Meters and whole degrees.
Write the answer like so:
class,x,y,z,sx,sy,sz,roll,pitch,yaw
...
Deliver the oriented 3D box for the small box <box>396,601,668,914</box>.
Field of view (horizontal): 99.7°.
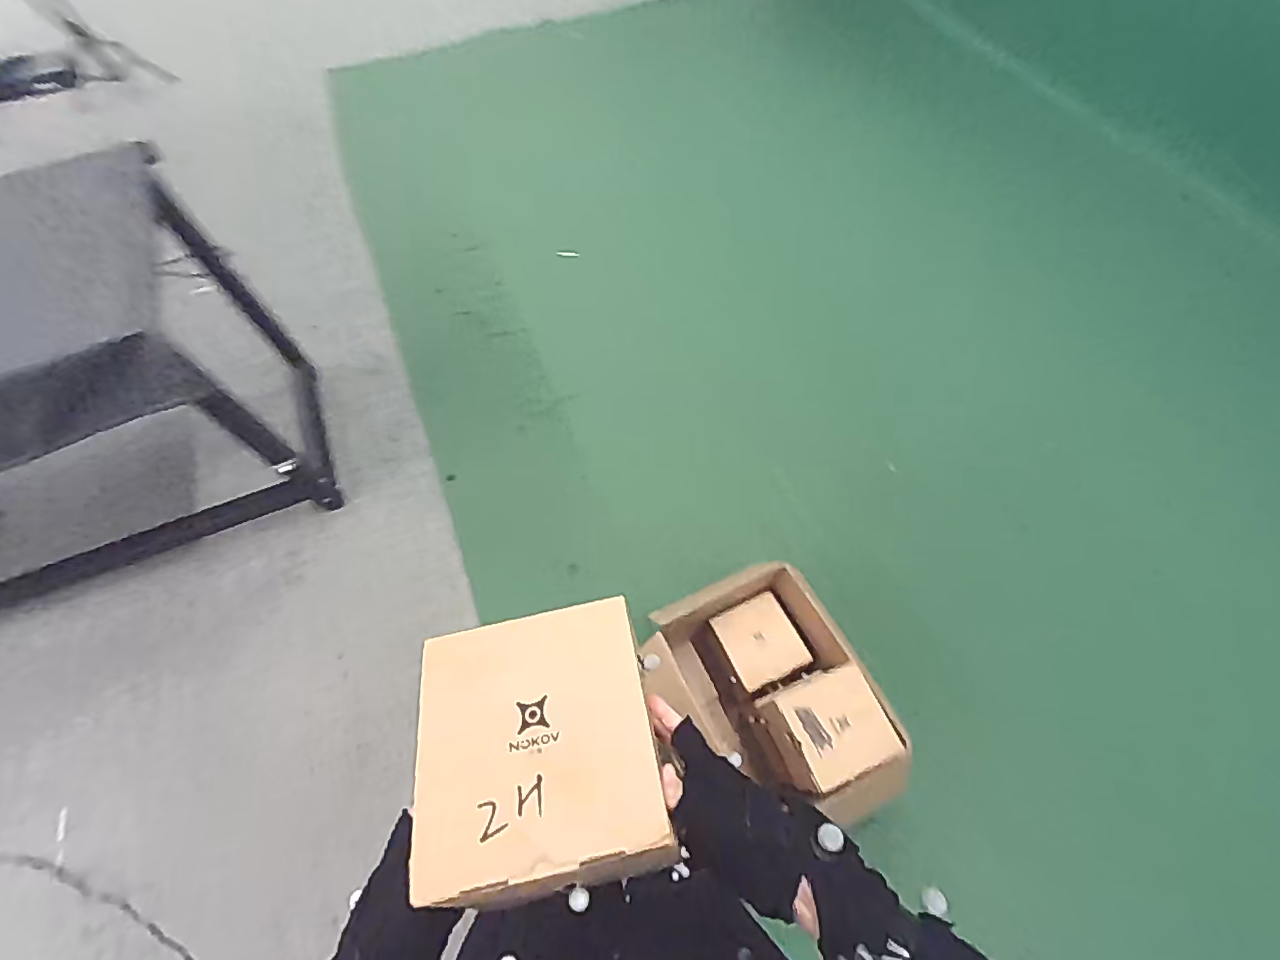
class,x,y,z,sx,sy,sz,roll,pitch,yaw
small box,-0.076,0.228,0.441,0.168,0.176,0.179,-13,52,-4
